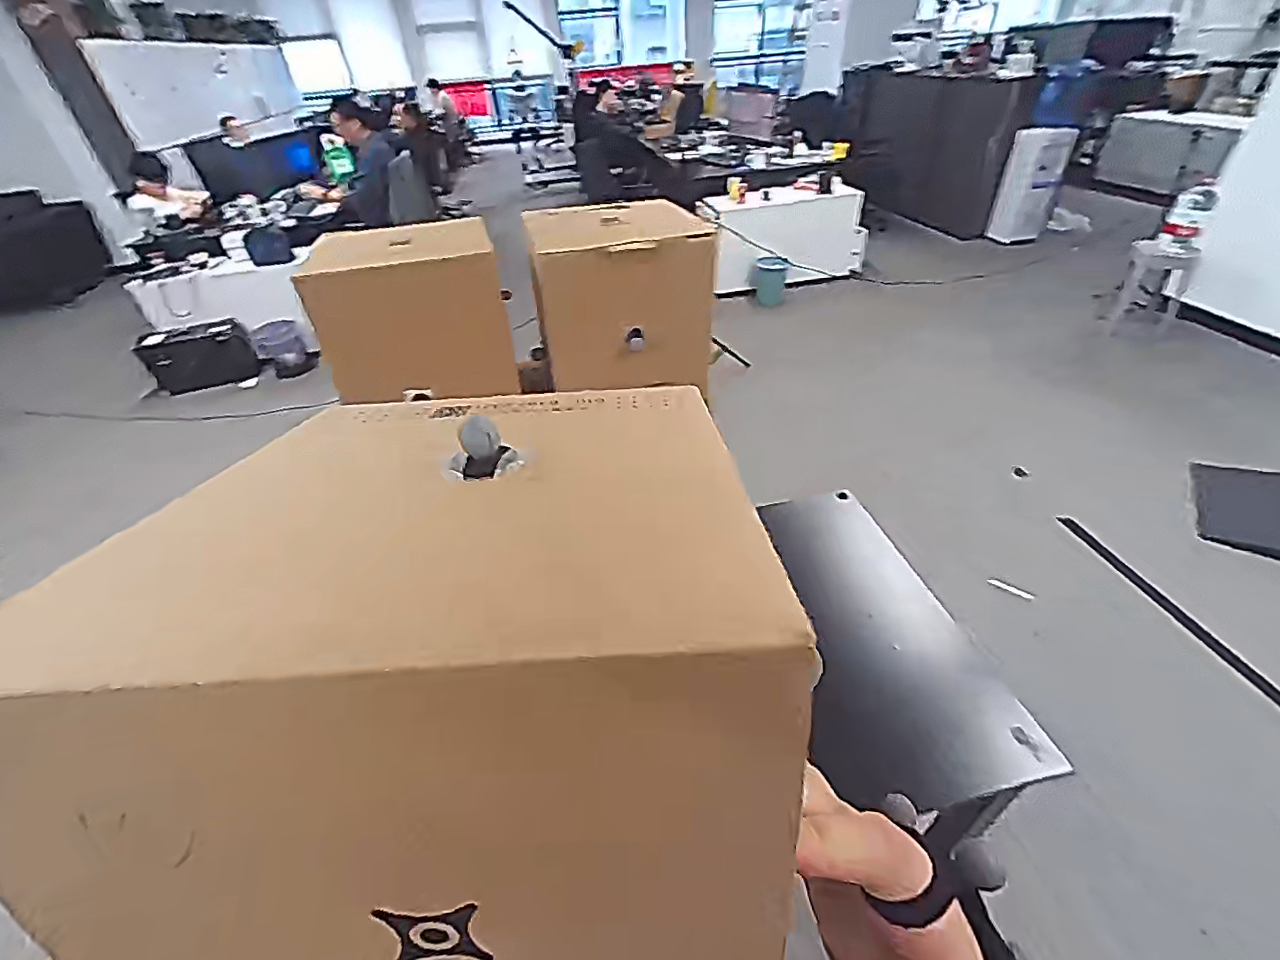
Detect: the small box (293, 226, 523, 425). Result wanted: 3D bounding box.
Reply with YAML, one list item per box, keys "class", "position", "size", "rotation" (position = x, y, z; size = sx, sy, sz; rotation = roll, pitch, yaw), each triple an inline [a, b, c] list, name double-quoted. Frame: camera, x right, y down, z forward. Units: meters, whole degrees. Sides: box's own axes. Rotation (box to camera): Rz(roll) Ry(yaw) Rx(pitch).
- class: "small box"
  position: [-0.229, -0.155, 0.572]
  size: [0.168, 0.176, 0.179]
  rotation: [-14, 38, -13]

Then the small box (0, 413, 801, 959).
- class: "small box"
  position: [-0.049, 0.077, 0.207]
  size: [0.168, 0.179, 0.176]
  rotation: [-3, 24, 0]
